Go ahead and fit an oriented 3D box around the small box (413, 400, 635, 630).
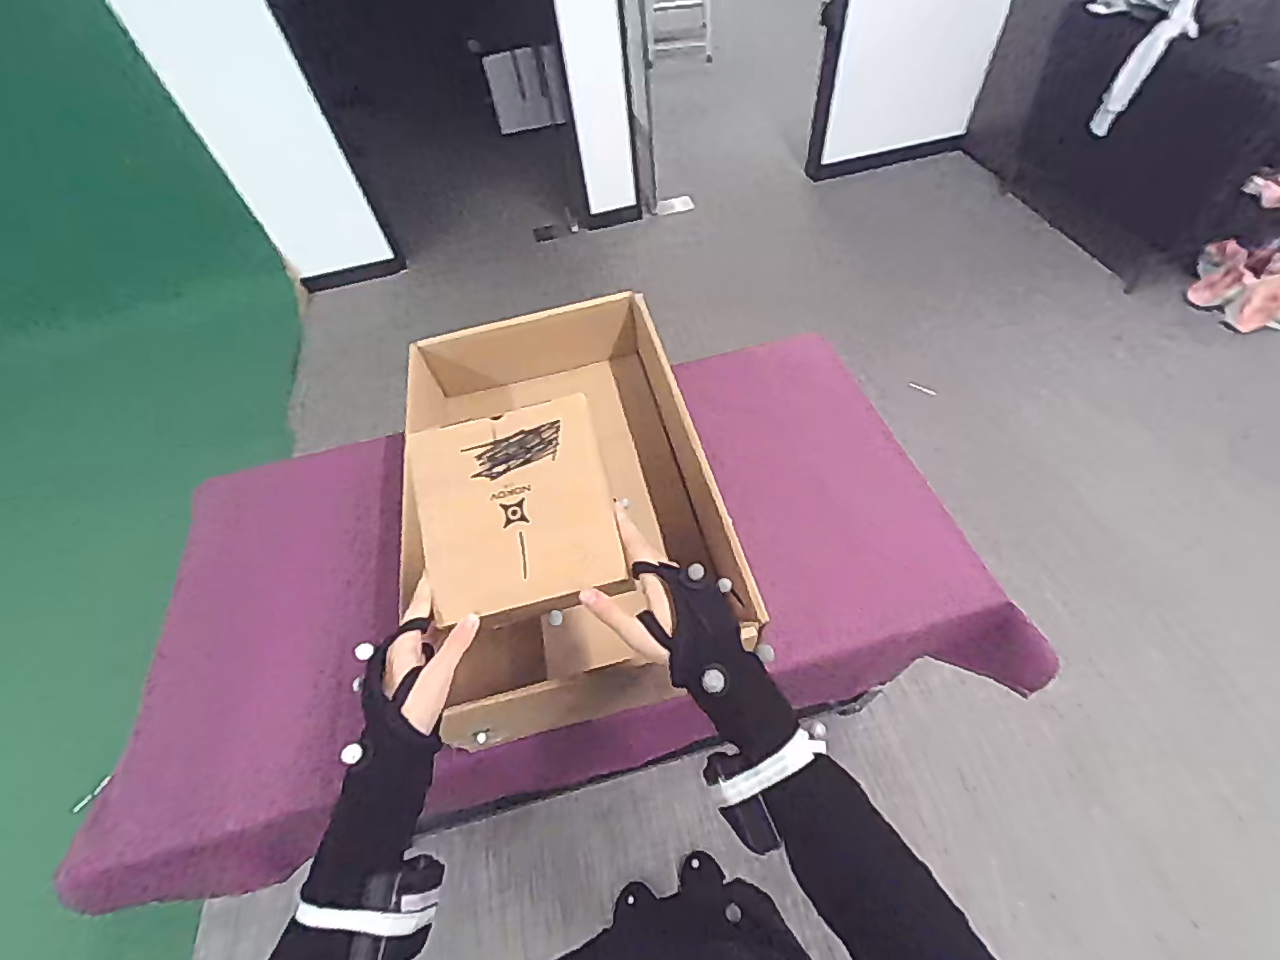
[{"bbox_3d":[-0.104,0.046,0.543,0.168,0.176,0.179,-14,76,-2],"label":"small box"}]
